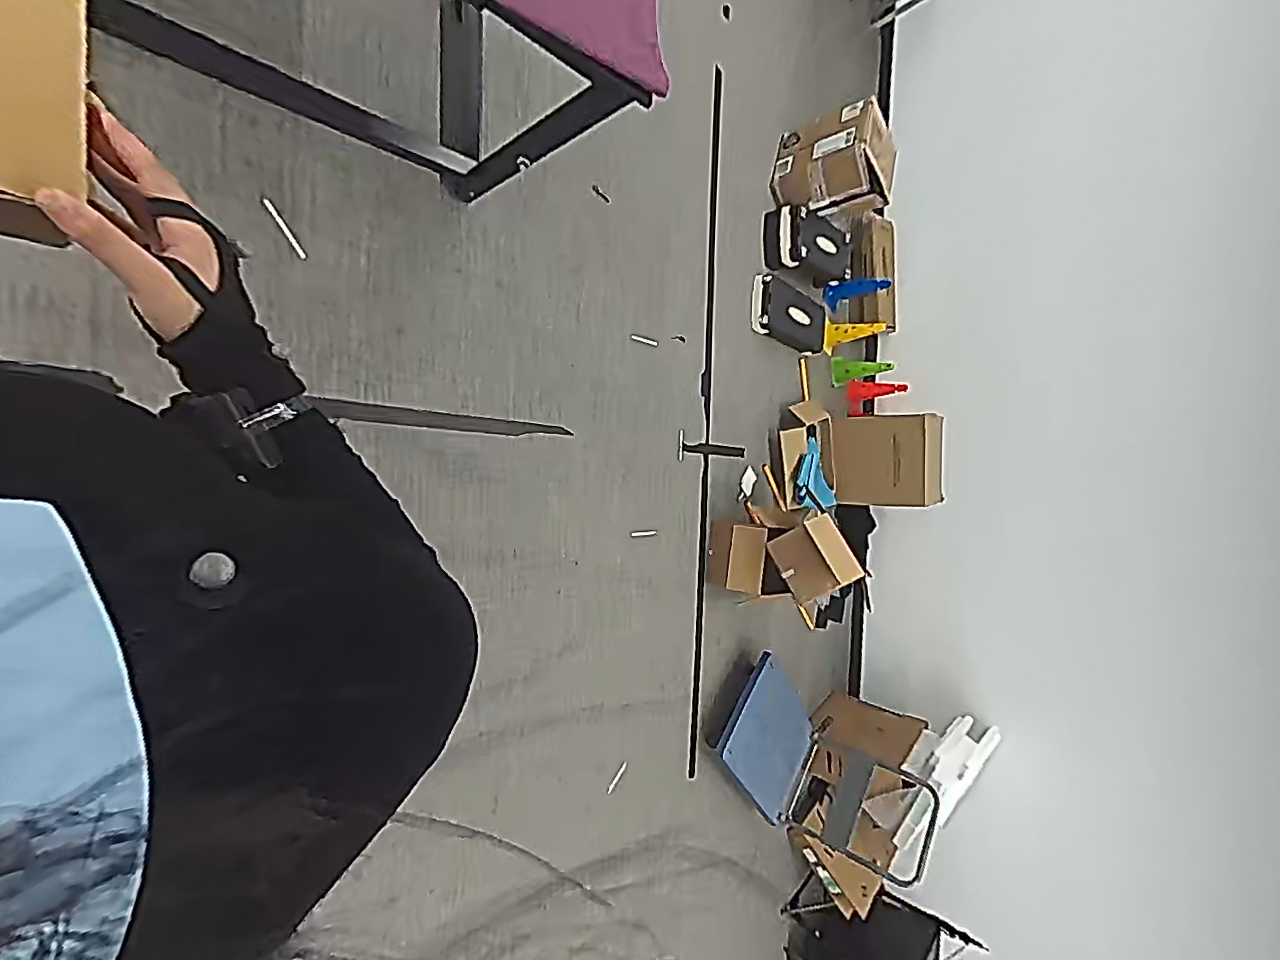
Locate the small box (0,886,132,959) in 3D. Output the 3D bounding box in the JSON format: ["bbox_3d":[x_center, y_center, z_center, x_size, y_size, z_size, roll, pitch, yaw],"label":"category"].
[{"bbox_3d":[-1.053,0.897,0.992,0.168,0.176,0.179,-7,98,-46],"label":"small box"}]
